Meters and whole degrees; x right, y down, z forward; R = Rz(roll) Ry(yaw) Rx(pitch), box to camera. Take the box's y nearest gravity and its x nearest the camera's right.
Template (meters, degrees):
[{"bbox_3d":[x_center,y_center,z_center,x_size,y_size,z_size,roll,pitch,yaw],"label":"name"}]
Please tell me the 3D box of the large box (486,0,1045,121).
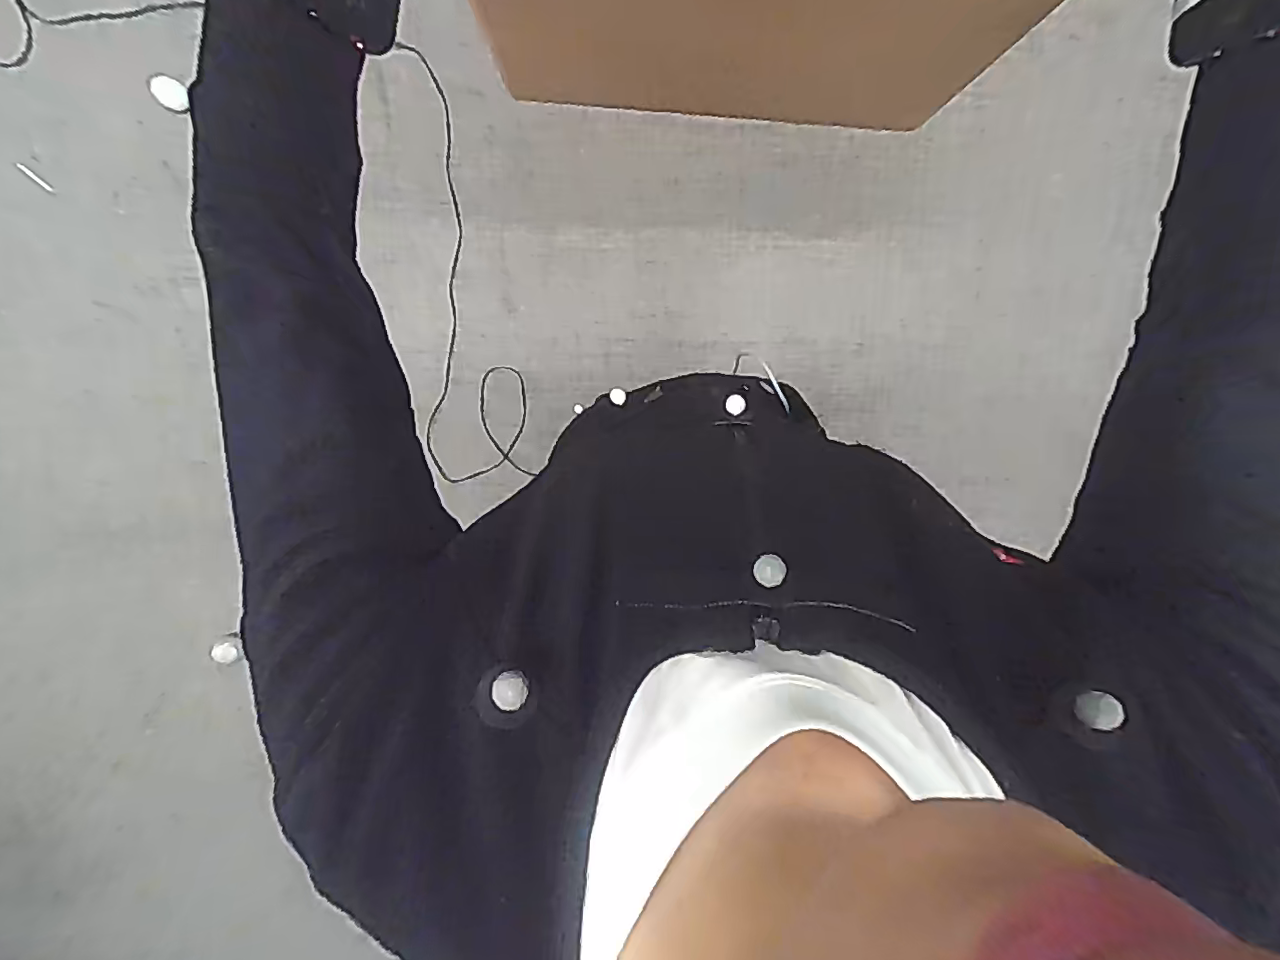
[{"bbox_3d":[0.089,-0.486,0.363,0.408,0.320,0.320,2,101,-3],"label":"large box"}]
